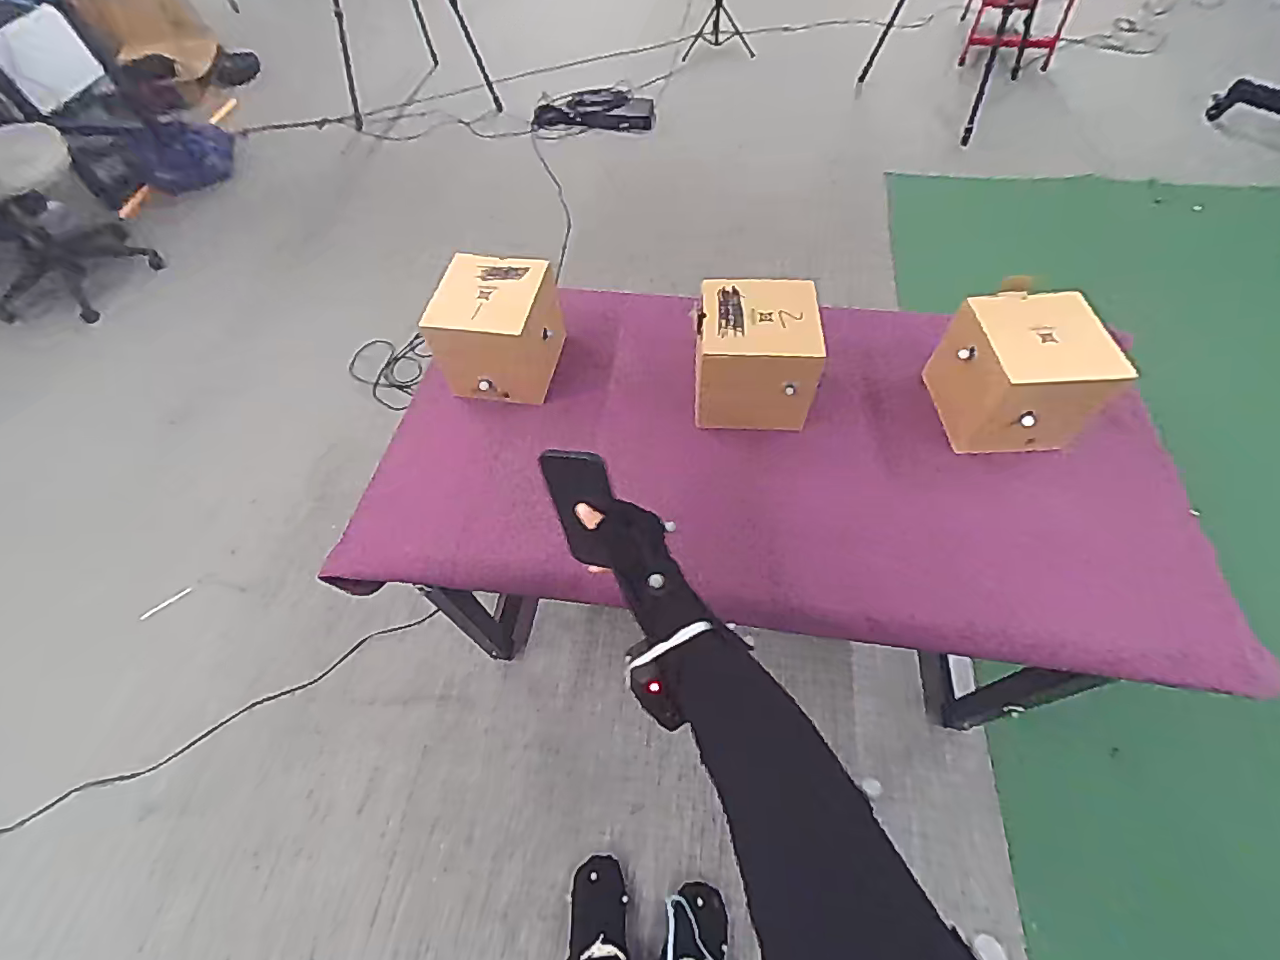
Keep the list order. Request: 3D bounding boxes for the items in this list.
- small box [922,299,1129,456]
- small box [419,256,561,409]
[{"bbox_3d":[0.563,-0.146,0.821,0.168,0.176,0.179,-3,57,1],"label":"small box"},{"bbox_3d":[-0.239,-0.248,0.917,0.168,0.176,0.179,8,60,7],"label":"small box"}]
